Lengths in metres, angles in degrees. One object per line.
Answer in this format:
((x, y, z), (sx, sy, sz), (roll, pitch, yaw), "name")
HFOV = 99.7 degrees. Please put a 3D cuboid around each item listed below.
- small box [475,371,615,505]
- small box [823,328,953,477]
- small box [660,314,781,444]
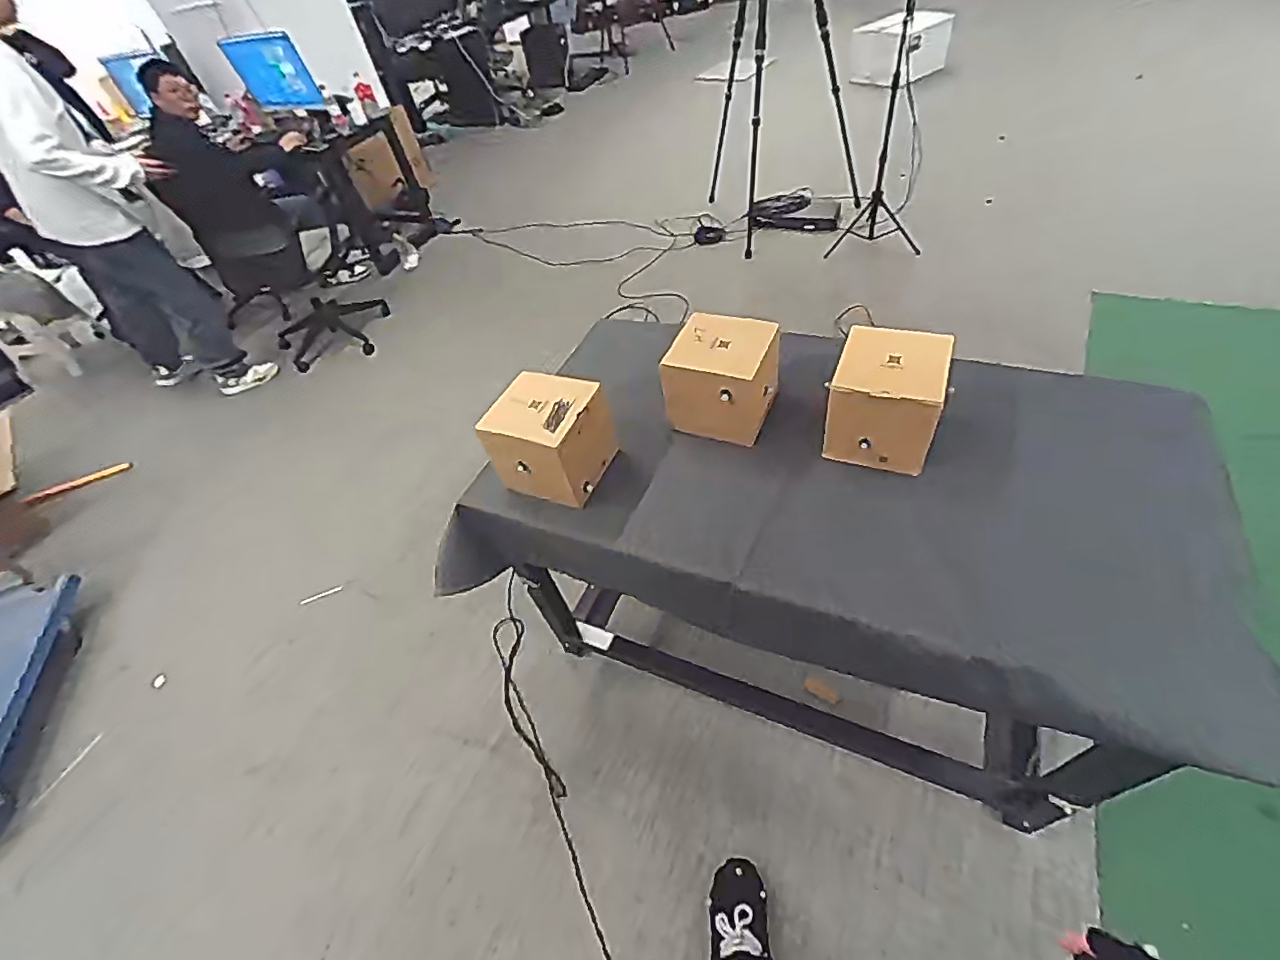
((-0.165, -0.076, 1.007), (0.179, 0.176, 0.168), (14, 53, 22), "small box")
((0.426, -0.136, 0.944), (0.168, 0.176, 0.179), (14, 54, 22), "small box")
((0.159, -0.191, 1.041), (0.179, 0.176, 0.168), (16, 55, 23), "small box")
